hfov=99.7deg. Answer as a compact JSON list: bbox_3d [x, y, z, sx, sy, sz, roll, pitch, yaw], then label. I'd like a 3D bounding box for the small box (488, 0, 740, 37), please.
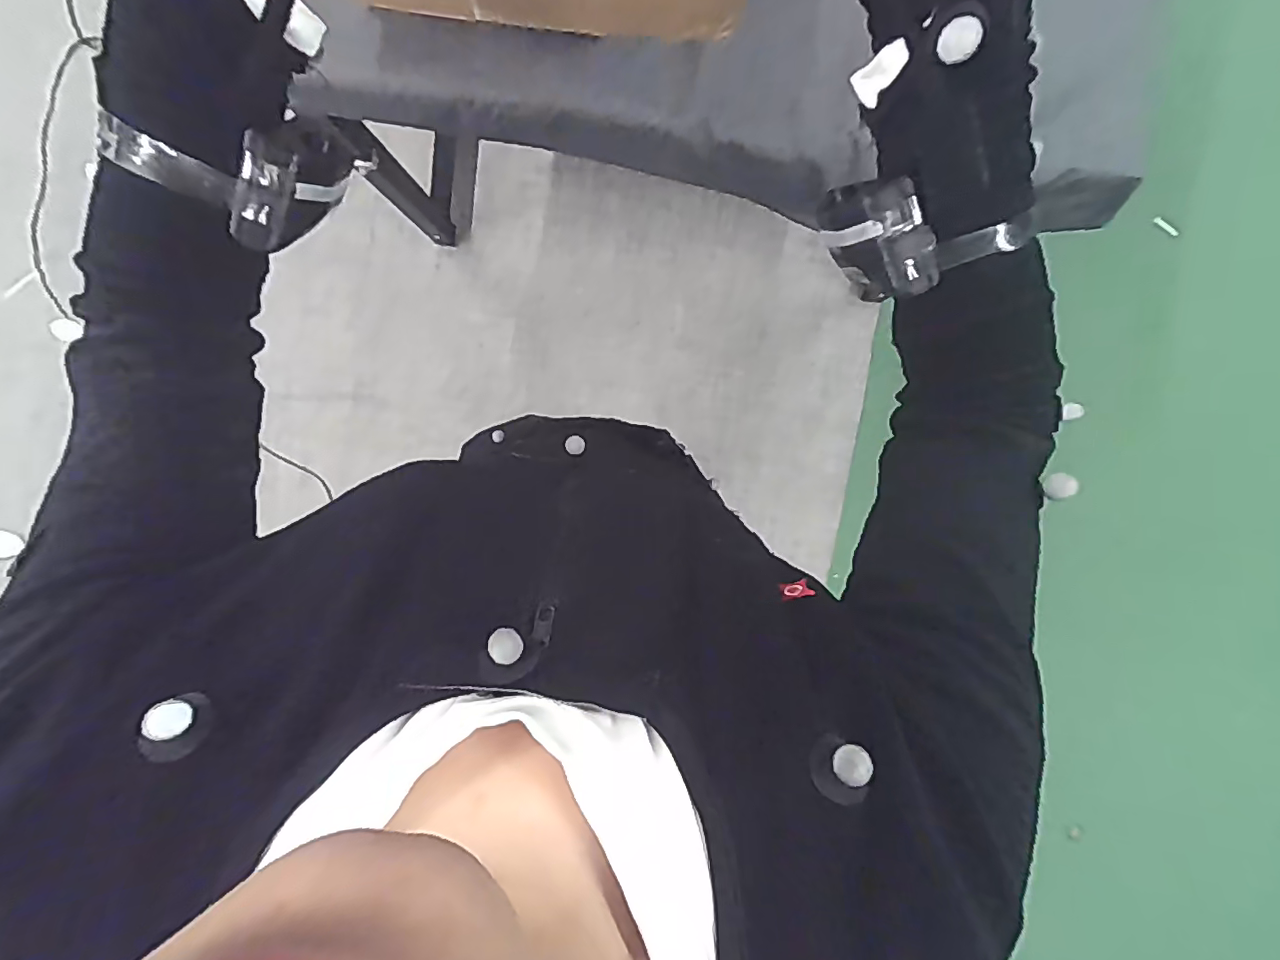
[{"bbox_3d":[-0.011,-0.378,0.281,0.179,0.176,0.168,2,96,-4],"label":"small box"}]
